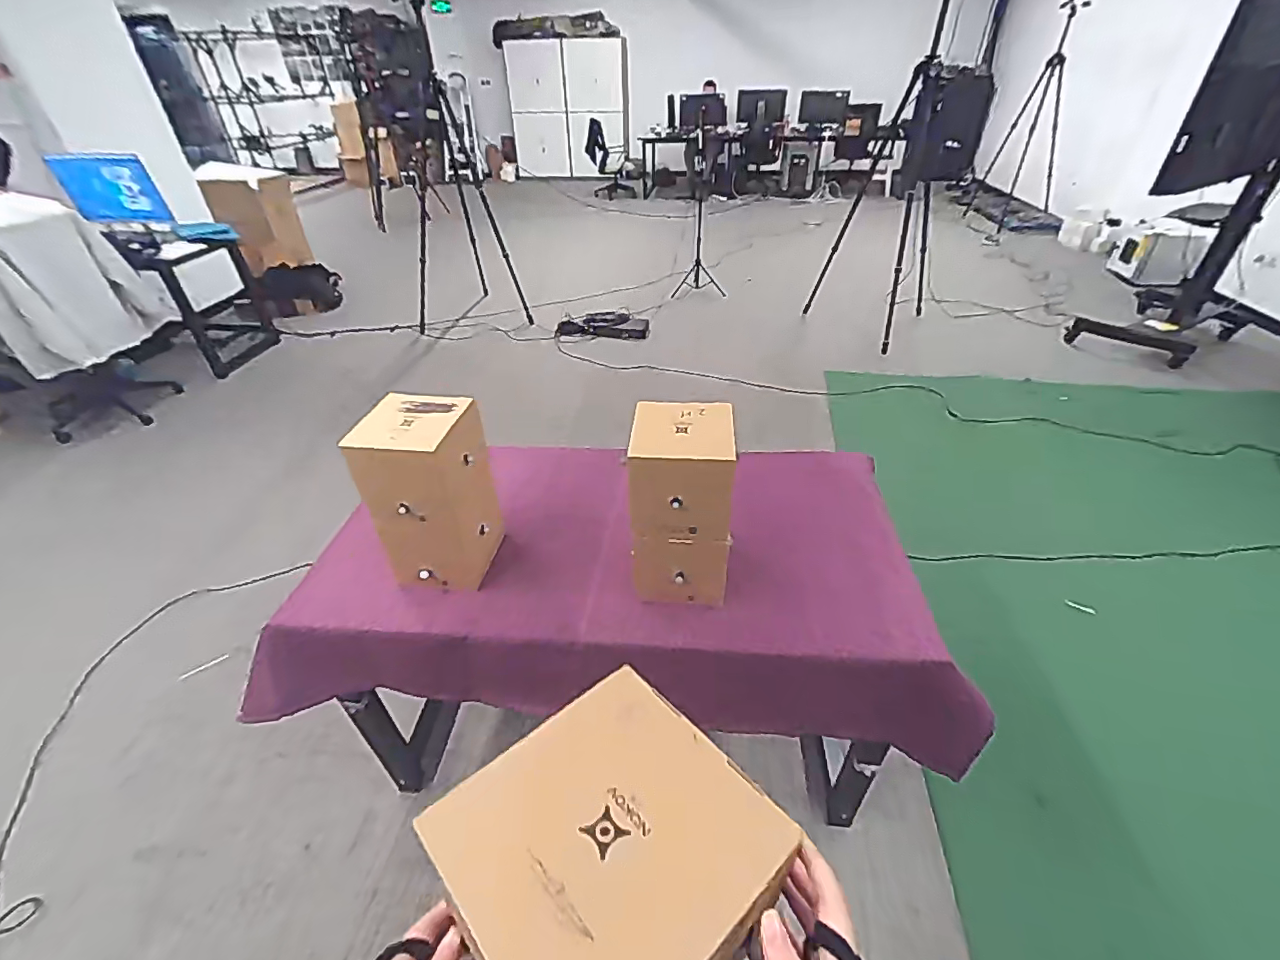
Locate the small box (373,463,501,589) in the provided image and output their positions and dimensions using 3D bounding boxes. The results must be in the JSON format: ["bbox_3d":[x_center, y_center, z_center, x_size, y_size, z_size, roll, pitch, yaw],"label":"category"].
[{"bbox_3d":[-0.384,0.088,1.065,0.168,0.176,0.179,4,39,7],"label":"small box"}]

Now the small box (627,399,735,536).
[{"bbox_3d":[0.072,-0.022,0.922,0.168,0.176,0.179,3,38,5],"label":"small box"}]

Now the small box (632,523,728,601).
[{"bbox_3d":[0.080,0.110,1.023,0.168,0.176,0.179,3,39,5],"label":"small box"}]
